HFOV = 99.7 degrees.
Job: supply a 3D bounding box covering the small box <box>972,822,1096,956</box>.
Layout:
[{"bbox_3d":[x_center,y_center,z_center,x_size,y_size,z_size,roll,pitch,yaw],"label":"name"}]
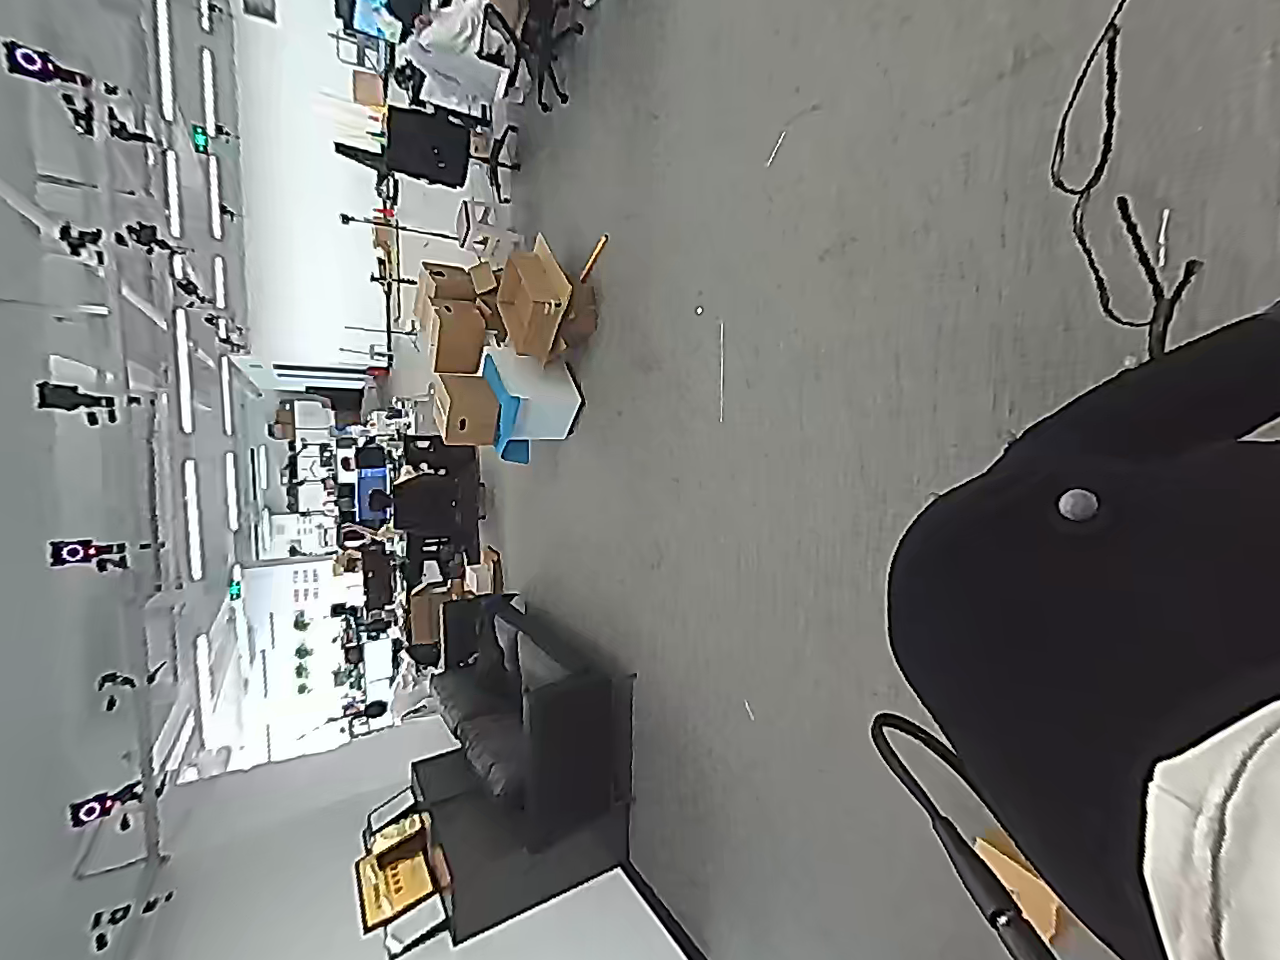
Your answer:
[{"bbox_3d":[0.937,0.957,1.290,0.179,0.176,0.168,19,108,56],"label":"small box"}]
